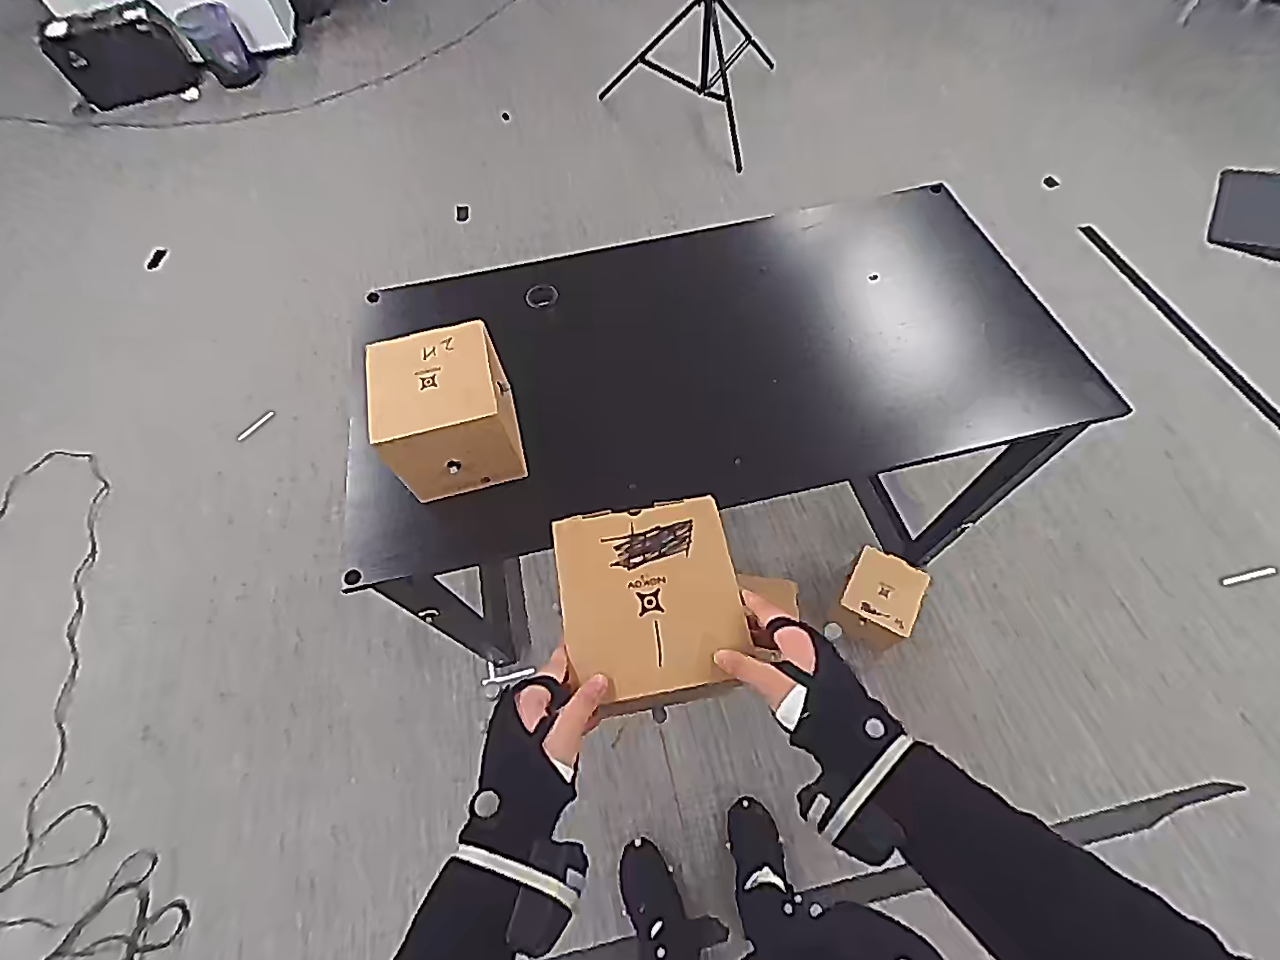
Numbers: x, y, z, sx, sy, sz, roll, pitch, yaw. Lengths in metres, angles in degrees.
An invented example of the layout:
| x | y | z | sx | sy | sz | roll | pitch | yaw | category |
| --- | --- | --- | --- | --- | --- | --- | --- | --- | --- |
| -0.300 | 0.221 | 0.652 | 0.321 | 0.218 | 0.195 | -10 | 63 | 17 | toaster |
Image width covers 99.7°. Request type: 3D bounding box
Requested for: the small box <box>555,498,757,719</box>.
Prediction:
| x | y | z | sx | sy | sz | roll | pitch | yaw | category |
| --- | --- | --- | --- | --- | --- | --- | --- | --- | --- |
| 0.008 | 0.141 | 0.571 | 0.168 | 0.176 | 0.179 | -9 | 64 | -4 | small box |

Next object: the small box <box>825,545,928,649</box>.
| x | y | z | sx | sy | sz | roll | pitch | yaw | category |
| --- | --- | --- | --- | --- | --- | --- | --- | --- | --- |
| 0.586 | 0.298 | 1.361 | 0.168 | 0.176 | 0.179 | 26 | 66 | 17 | small box |

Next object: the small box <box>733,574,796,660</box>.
| x | y | z | sx | sy | sz | roll | pitch | yaw | category |
| --- | --- | --- | --- | --- | --- | --- | --- | --- | --- |
| 0.287 | 0.347 | 1.355 | 0.179 | 0.176 | 0.168 | 5 | 61 | 7 | small box |

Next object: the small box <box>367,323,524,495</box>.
| x | y | z | sx | sy | sz | roll | pitch | yaw | category |
| --- | --- | --- | --- | --- | --- | --- | --- | --- | --- |
| -0.278 | -0.094 | 0.794 | 0.168 | 0.176 | 0.179 | -15 | 61 | -5 | small box |
